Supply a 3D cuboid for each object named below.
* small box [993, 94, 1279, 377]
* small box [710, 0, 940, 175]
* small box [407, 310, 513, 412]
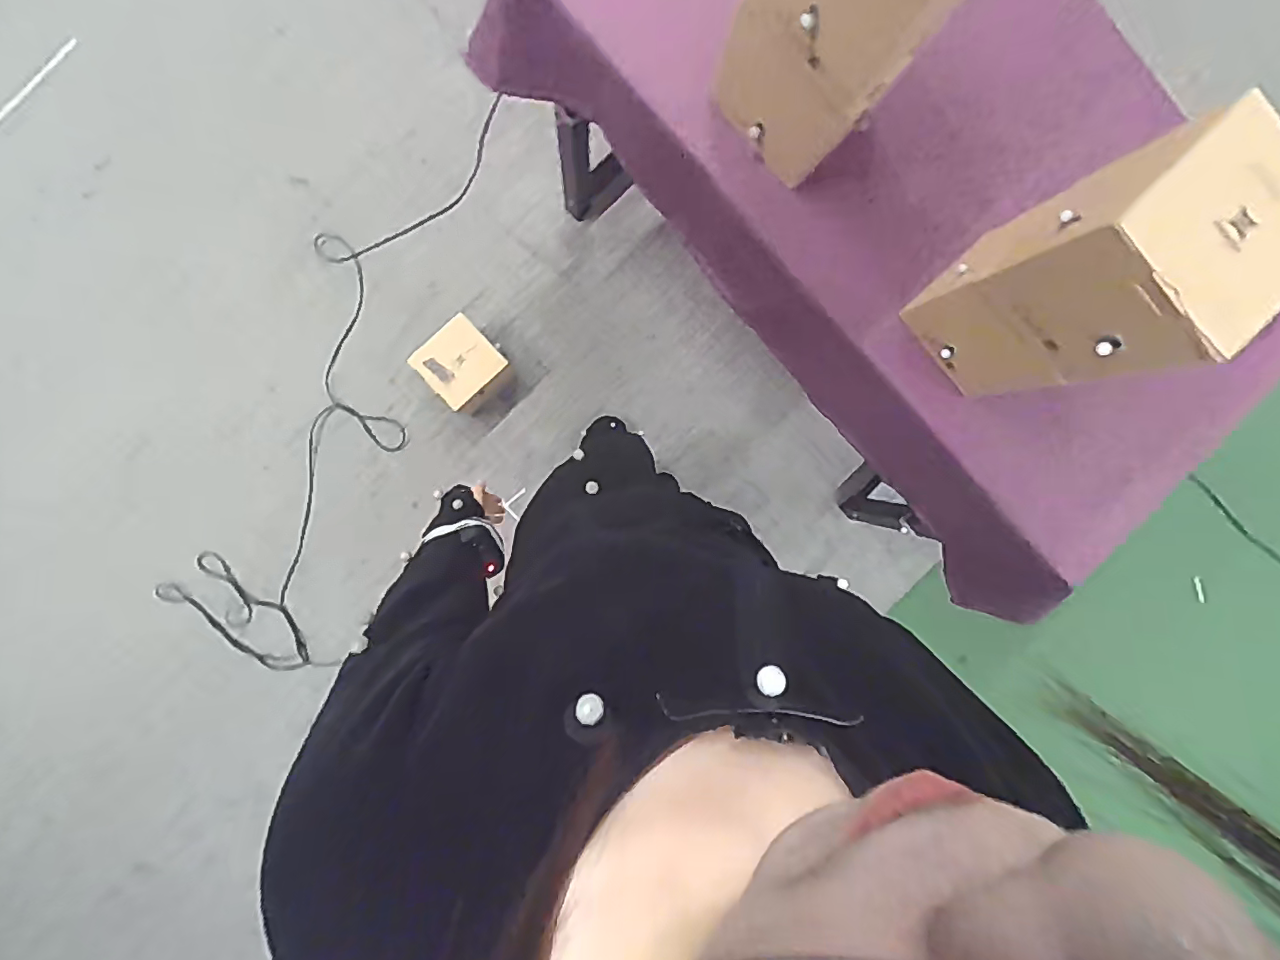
[{"bbox_3d":[0.511,-0.226,0.557,0.179,0.176,0.168,-44,97,-2],"label":"small box"},{"bbox_3d":[0.215,-0.521,0.676,0.179,0.176,0.168,45,88,-7],"label":"small box"},{"bbox_3d":[-0.441,-0.288,1.359,0.179,0.176,0.168,-43,96,-3],"label":"small box"}]
